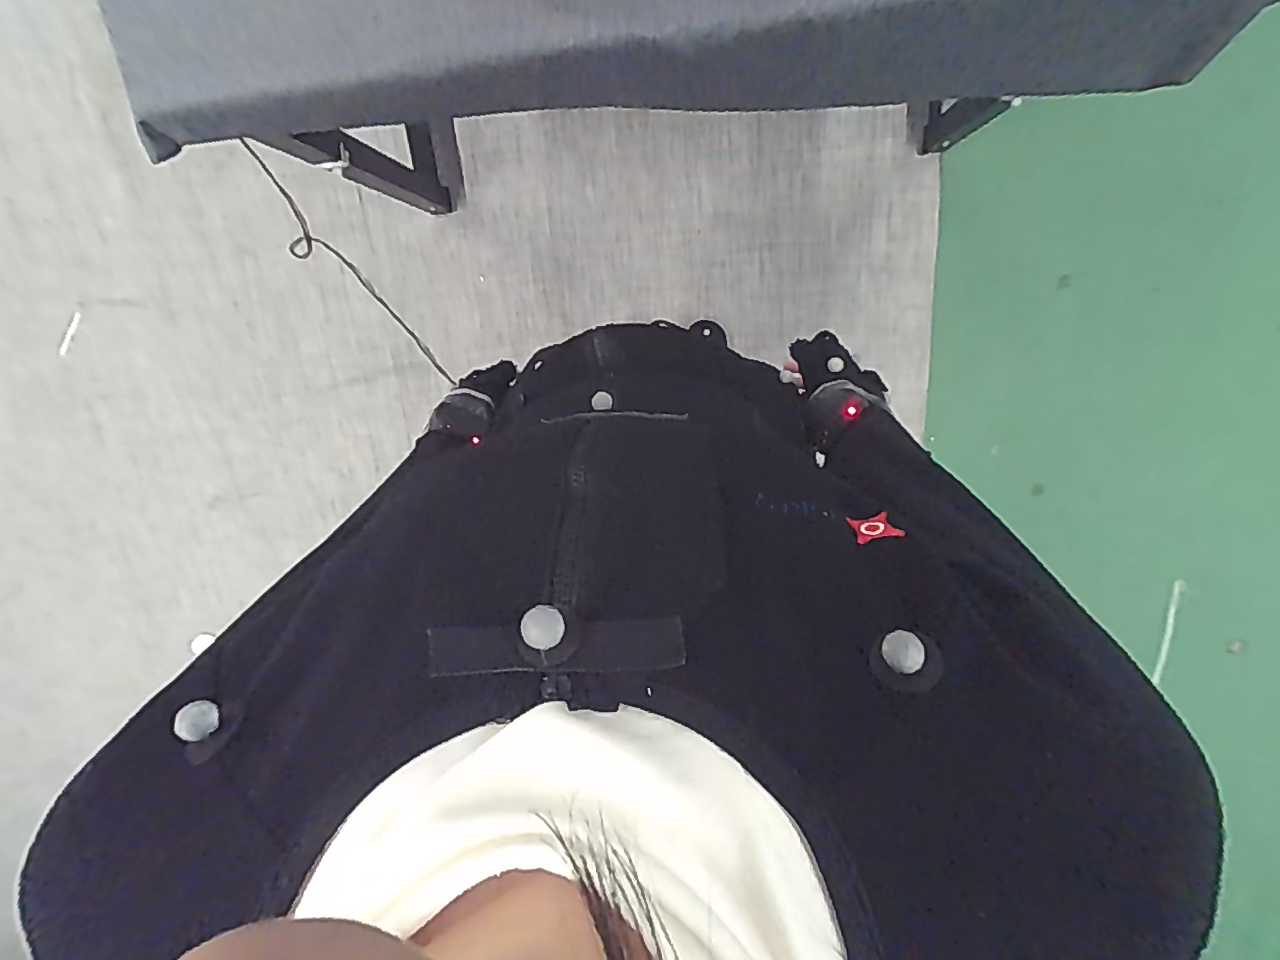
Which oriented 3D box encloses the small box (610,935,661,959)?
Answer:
[{"bbox_3d":[-0.016,1.737,1.890,0.179,0.176,0.168,-4,106,4],"label":"small box"}]
